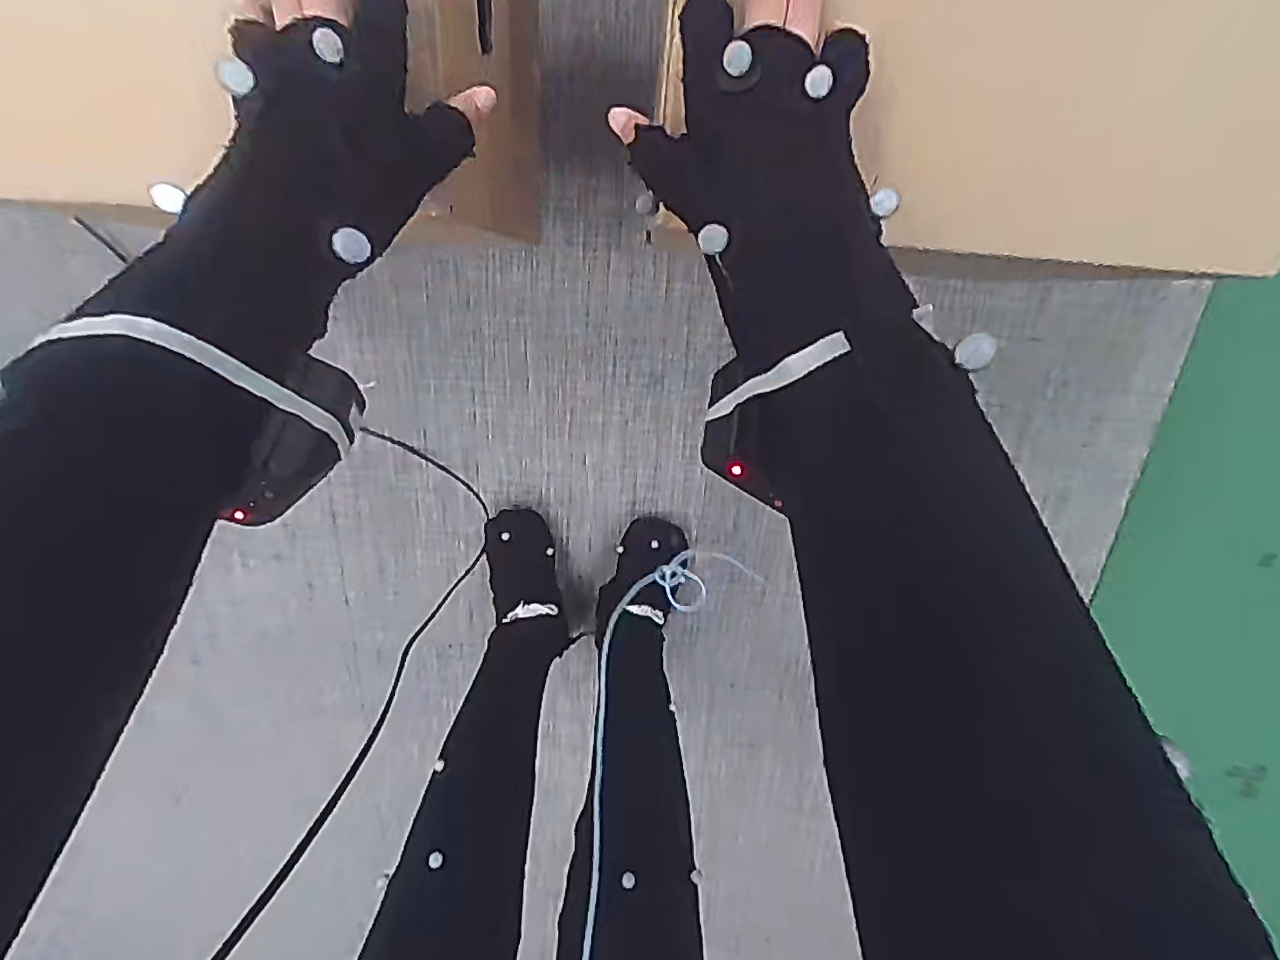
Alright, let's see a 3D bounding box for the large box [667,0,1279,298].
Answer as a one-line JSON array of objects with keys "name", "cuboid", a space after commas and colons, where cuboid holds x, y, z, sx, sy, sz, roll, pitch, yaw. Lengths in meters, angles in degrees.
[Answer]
[{"name": "large box", "cuboid": [0.237, -0.338, 0.460, 0.408, 0.320, 0.320, 5, 110, 0]}]
